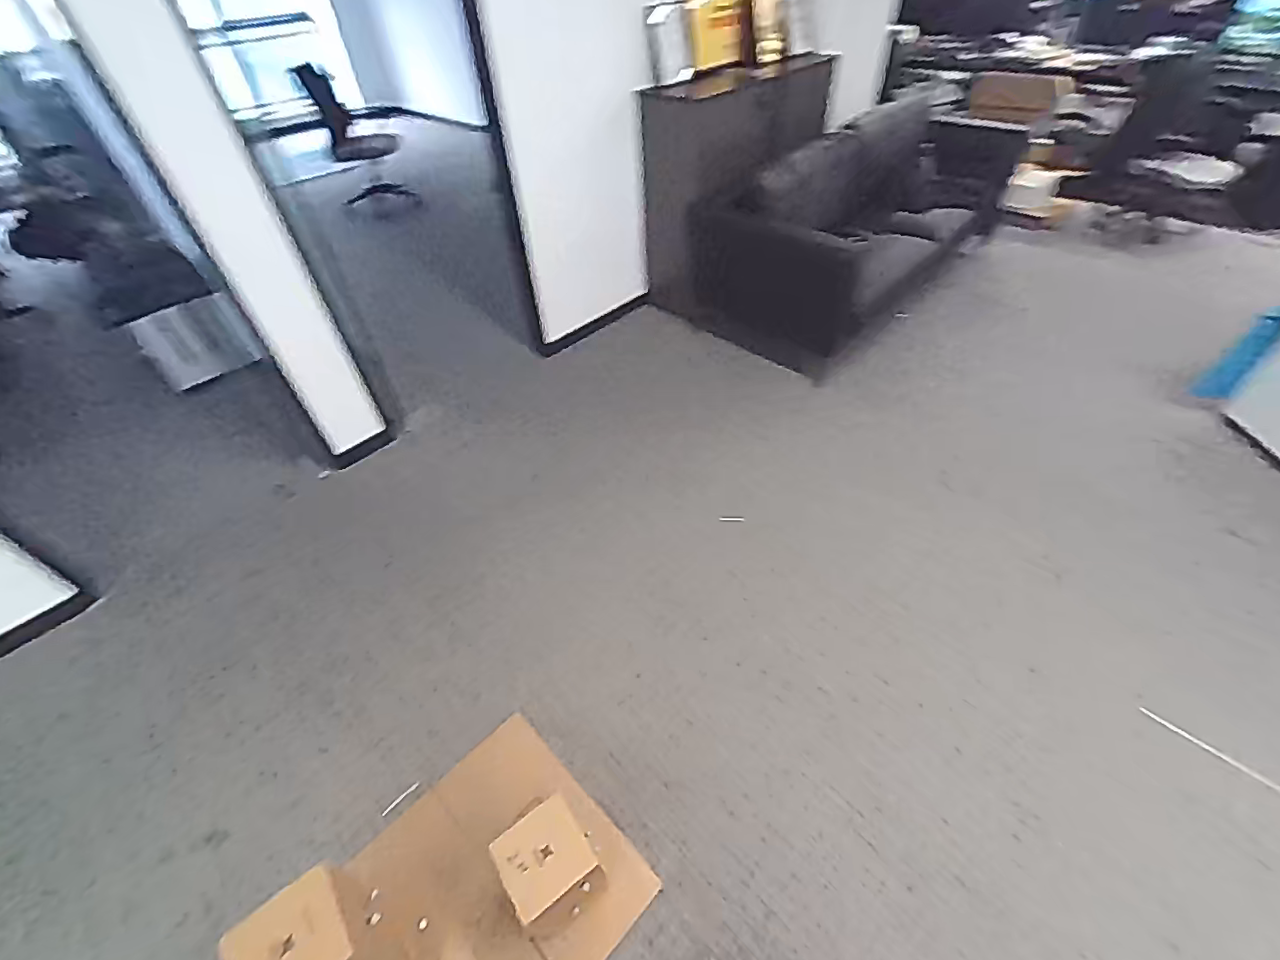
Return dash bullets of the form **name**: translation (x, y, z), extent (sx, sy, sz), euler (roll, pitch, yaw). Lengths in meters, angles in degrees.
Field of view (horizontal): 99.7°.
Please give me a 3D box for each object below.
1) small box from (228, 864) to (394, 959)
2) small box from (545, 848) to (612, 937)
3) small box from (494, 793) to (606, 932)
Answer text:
- **small box**: translation (-0.571, 0.832, 0.952), extent (0.179, 0.176, 0.168), euler (-31, 52, -24)
- **small box**: translation (-0.180, 0.933, 1.284), extent (0.179, 0.176, 0.168), euler (-33, 51, -24)
- **small box**: translation (-0.184, 0.821, 1.162), extent (0.179, 0.176, 0.168), euler (-30, 50, -21)
